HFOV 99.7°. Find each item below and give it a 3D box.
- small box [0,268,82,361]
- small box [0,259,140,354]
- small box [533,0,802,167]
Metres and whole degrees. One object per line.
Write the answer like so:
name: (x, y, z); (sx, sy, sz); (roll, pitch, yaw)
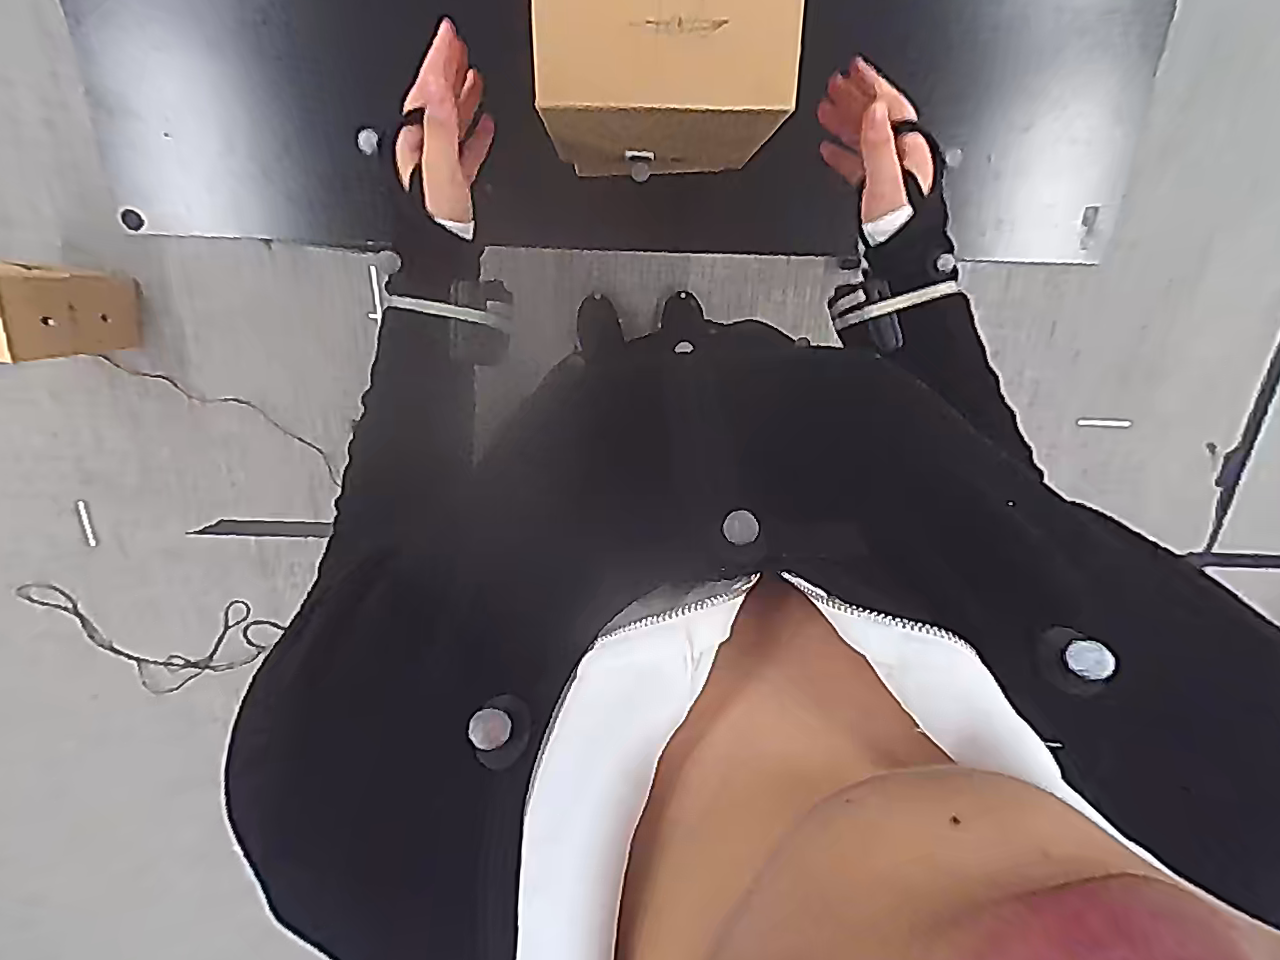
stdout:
small box: (-1.303, -0.343, 1.103); (0.179, 0.176, 0.168); (6, 107, -4)
small box: (-1.320, -0.402, 1.256); (0.168, 0.176, 0.179); (9, 109, -5)
small box: (0.015, -0.346, 0.391); (0.168, 0.176, 0.179); (0, 109, -1)
